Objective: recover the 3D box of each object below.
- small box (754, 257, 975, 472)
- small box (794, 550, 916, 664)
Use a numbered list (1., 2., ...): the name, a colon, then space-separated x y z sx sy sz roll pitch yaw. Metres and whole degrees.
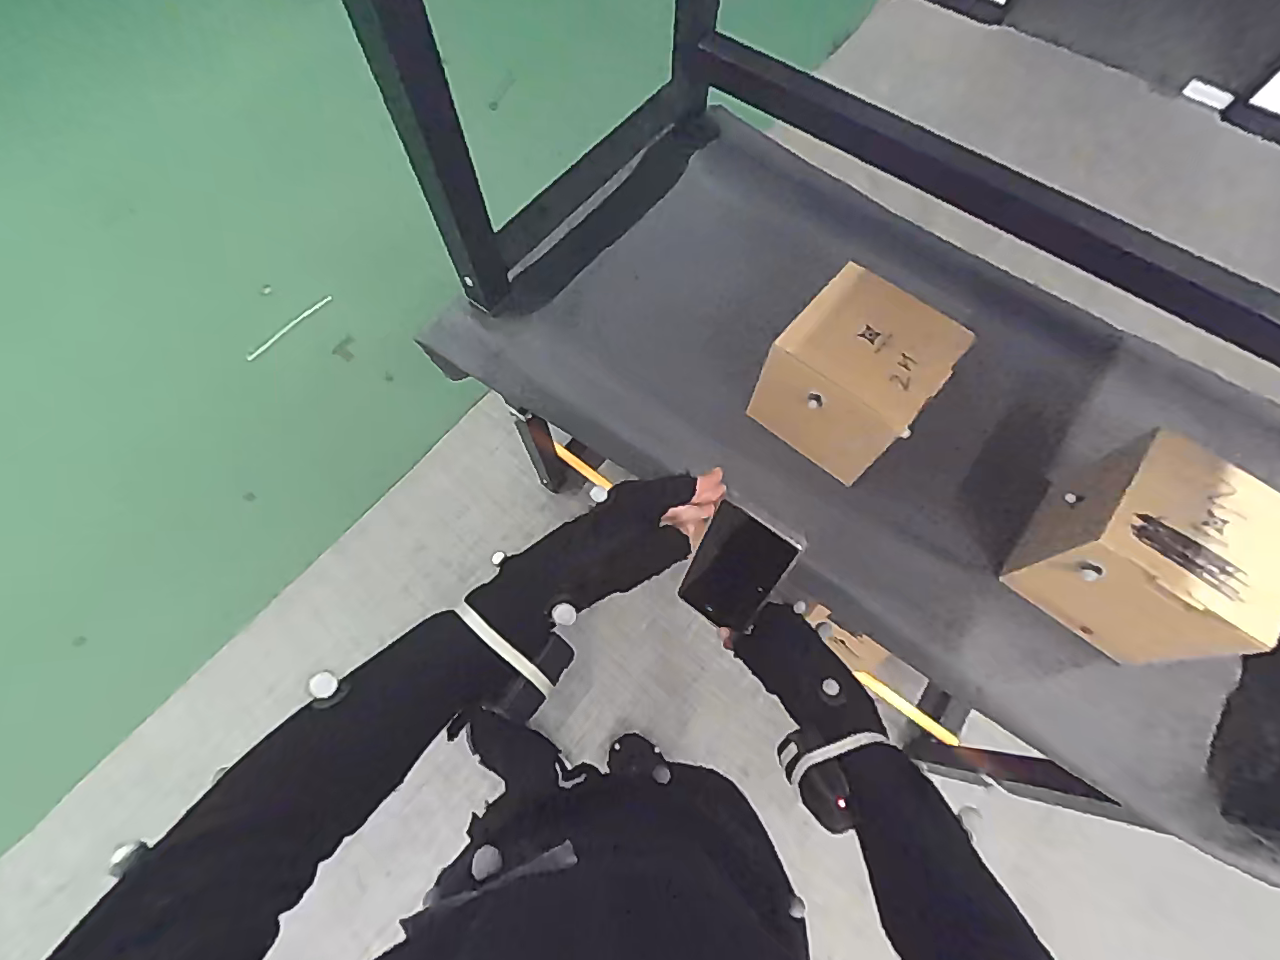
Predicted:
1. small box: 0.272 -0.139 0.698 0.179 0.176 0.168 39 73 14
2. small box: 0.463 0.289 1.201 0.168 0.176 0.179 39 73 13
